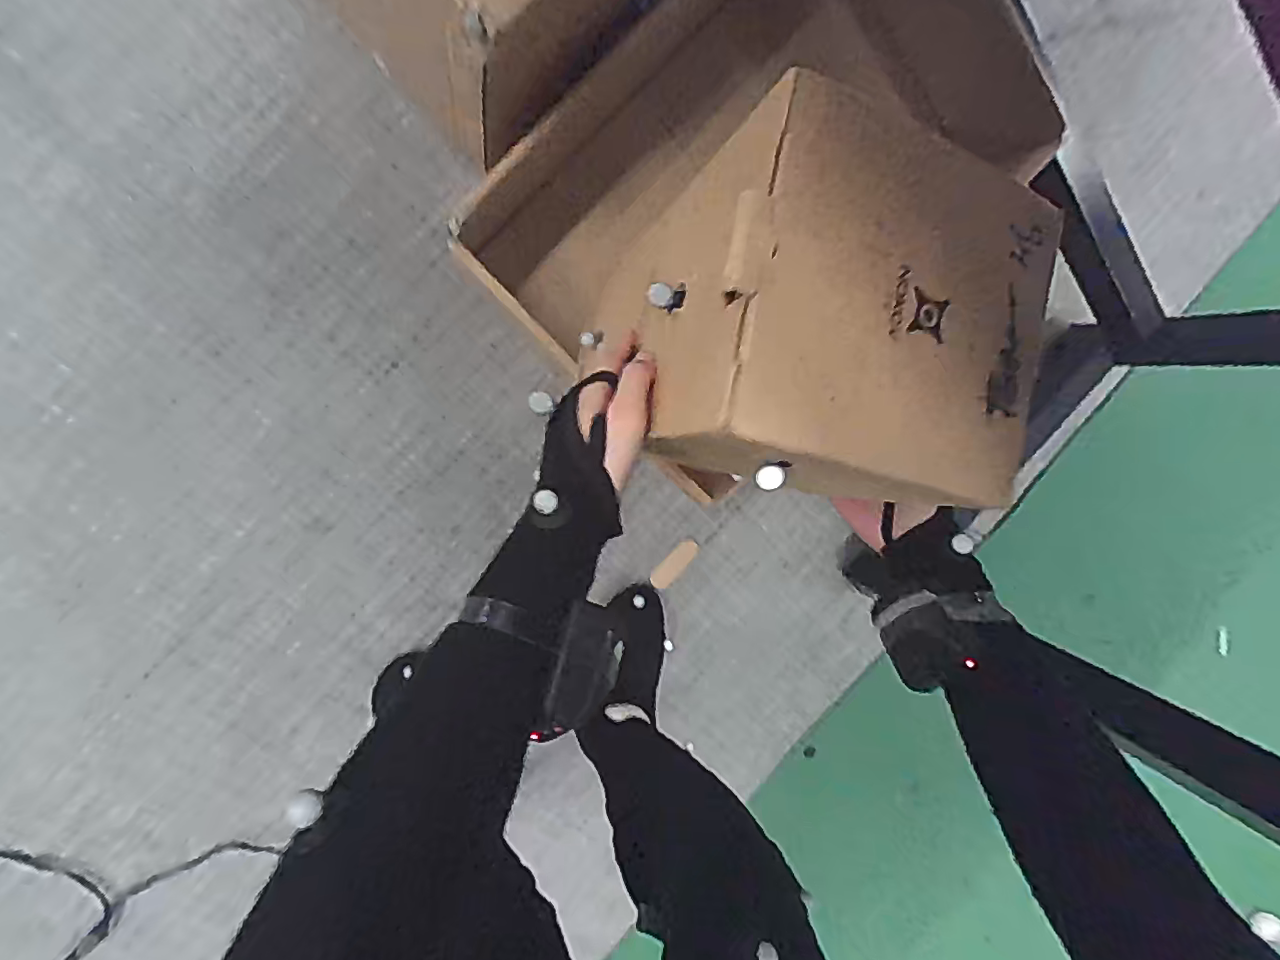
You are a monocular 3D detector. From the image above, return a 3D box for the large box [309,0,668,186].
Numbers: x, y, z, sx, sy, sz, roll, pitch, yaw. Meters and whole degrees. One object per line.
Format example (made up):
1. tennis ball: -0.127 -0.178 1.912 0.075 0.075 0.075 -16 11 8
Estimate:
1. large box: -0.116 -0.565 0.475 0.320 0.320 0.408 43 89 -18
